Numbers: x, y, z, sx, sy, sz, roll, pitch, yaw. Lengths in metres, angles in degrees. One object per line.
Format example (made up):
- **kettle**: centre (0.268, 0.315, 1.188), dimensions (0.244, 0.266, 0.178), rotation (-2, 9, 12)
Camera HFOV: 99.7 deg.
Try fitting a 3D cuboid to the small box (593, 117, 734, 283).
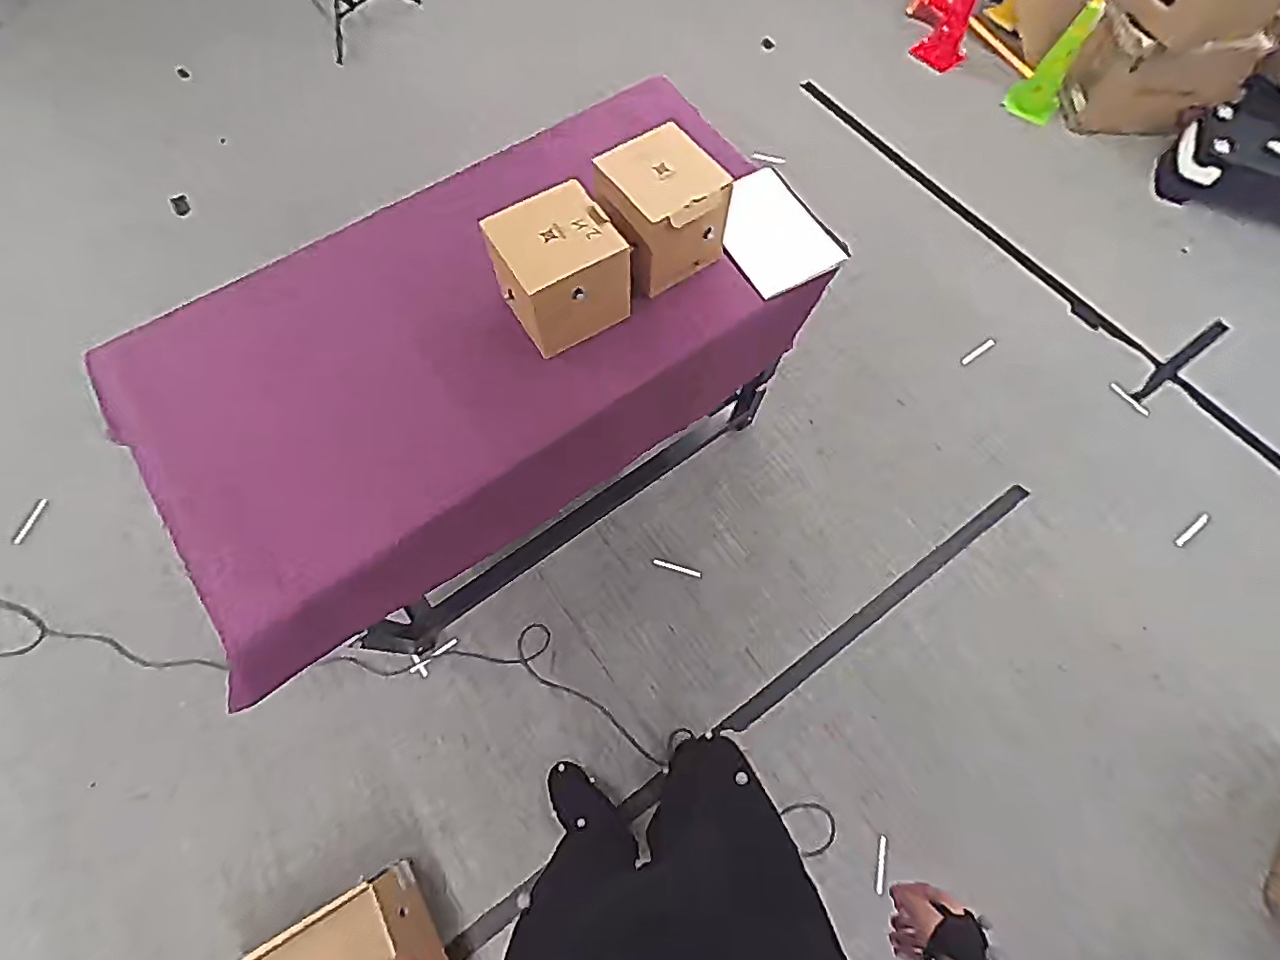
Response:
- **small box**: centre (0.037, -0.473, 0.940), dimensions (0.168, 0.176, 0.179), rotation (-33, 73, -13)
